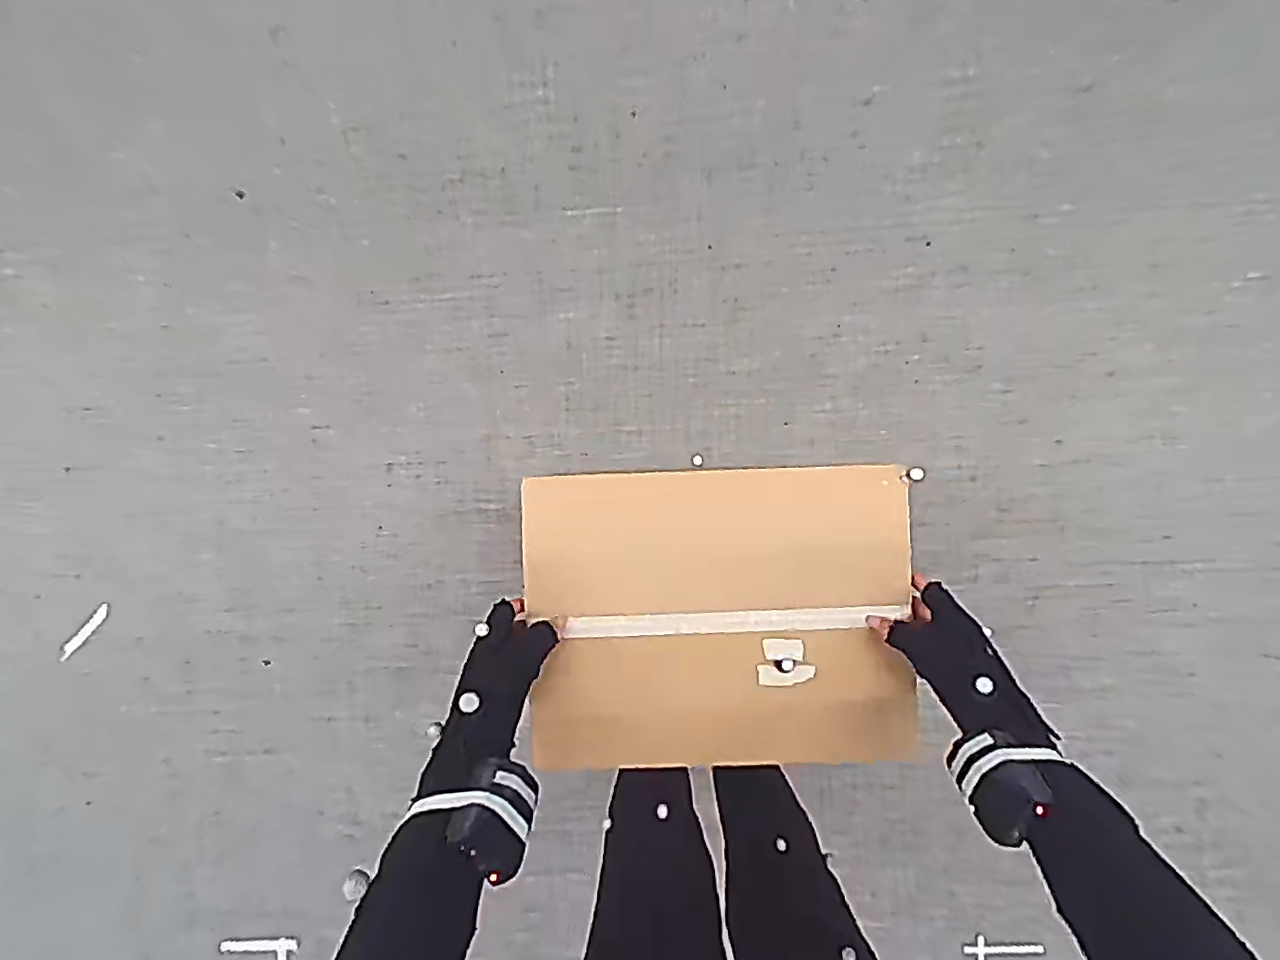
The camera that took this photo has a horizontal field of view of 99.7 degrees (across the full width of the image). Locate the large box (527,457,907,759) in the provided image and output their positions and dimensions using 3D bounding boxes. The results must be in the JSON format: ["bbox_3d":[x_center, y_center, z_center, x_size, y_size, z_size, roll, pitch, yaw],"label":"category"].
[{"bbox_3d":[0.083,0.137,0.730,0.408,0.320,0.320,-2,92,0],"label":"large box"}]
